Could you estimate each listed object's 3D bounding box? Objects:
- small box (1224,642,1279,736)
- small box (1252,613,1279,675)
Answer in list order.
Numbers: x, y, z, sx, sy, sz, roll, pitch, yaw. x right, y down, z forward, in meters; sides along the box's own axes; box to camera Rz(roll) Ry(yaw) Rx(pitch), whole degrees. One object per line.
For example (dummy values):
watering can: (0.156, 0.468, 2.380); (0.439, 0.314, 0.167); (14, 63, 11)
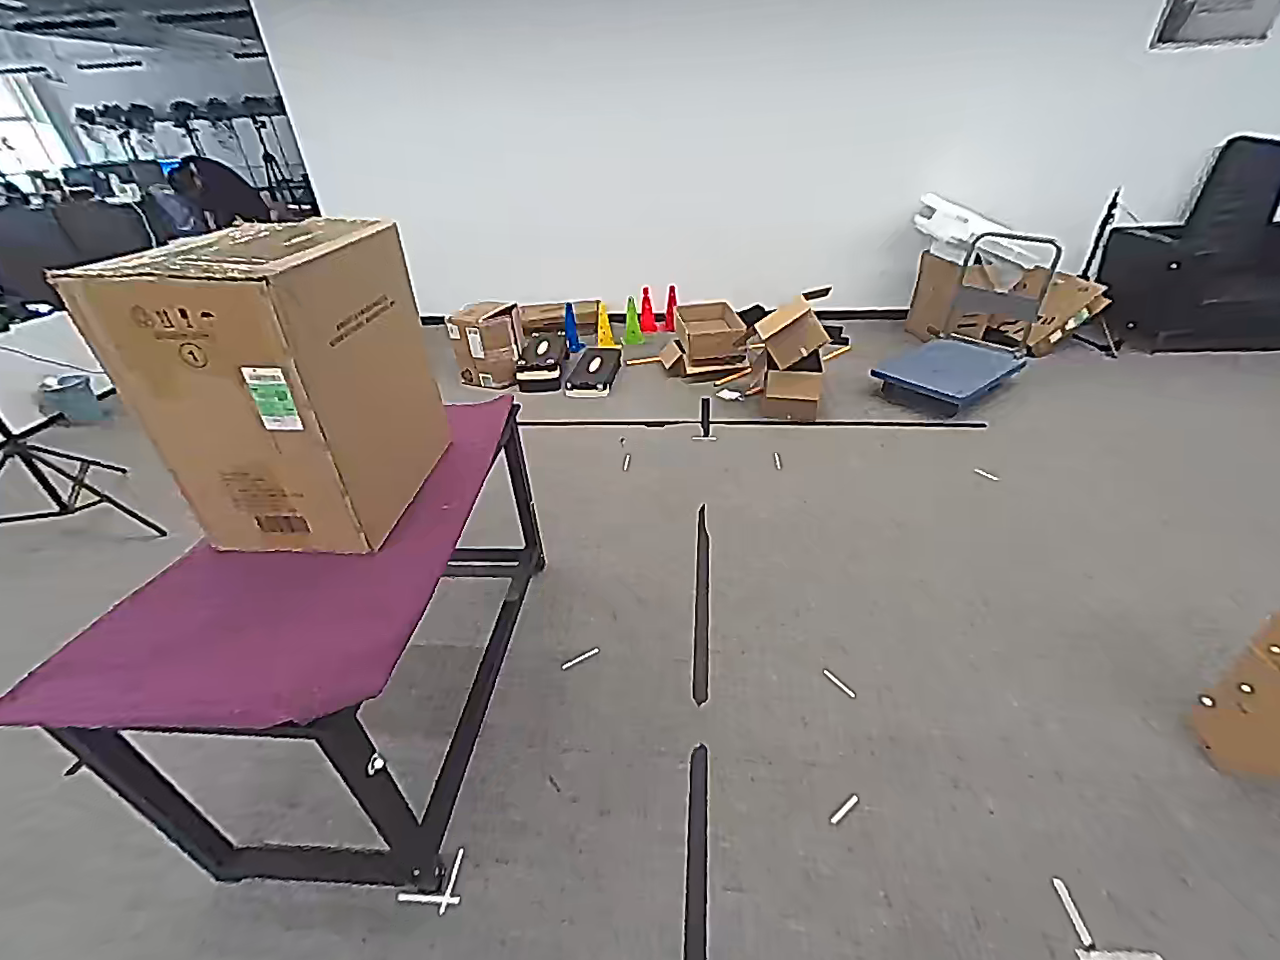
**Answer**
small box: (1.678, 0.546, 1.390); (0.179, 0.176, 0.168); (5, 35, 11)
small box: (1.675, 0.408, 1.304); (0.179, 0.176, 0.168); (5, 34, 11)
